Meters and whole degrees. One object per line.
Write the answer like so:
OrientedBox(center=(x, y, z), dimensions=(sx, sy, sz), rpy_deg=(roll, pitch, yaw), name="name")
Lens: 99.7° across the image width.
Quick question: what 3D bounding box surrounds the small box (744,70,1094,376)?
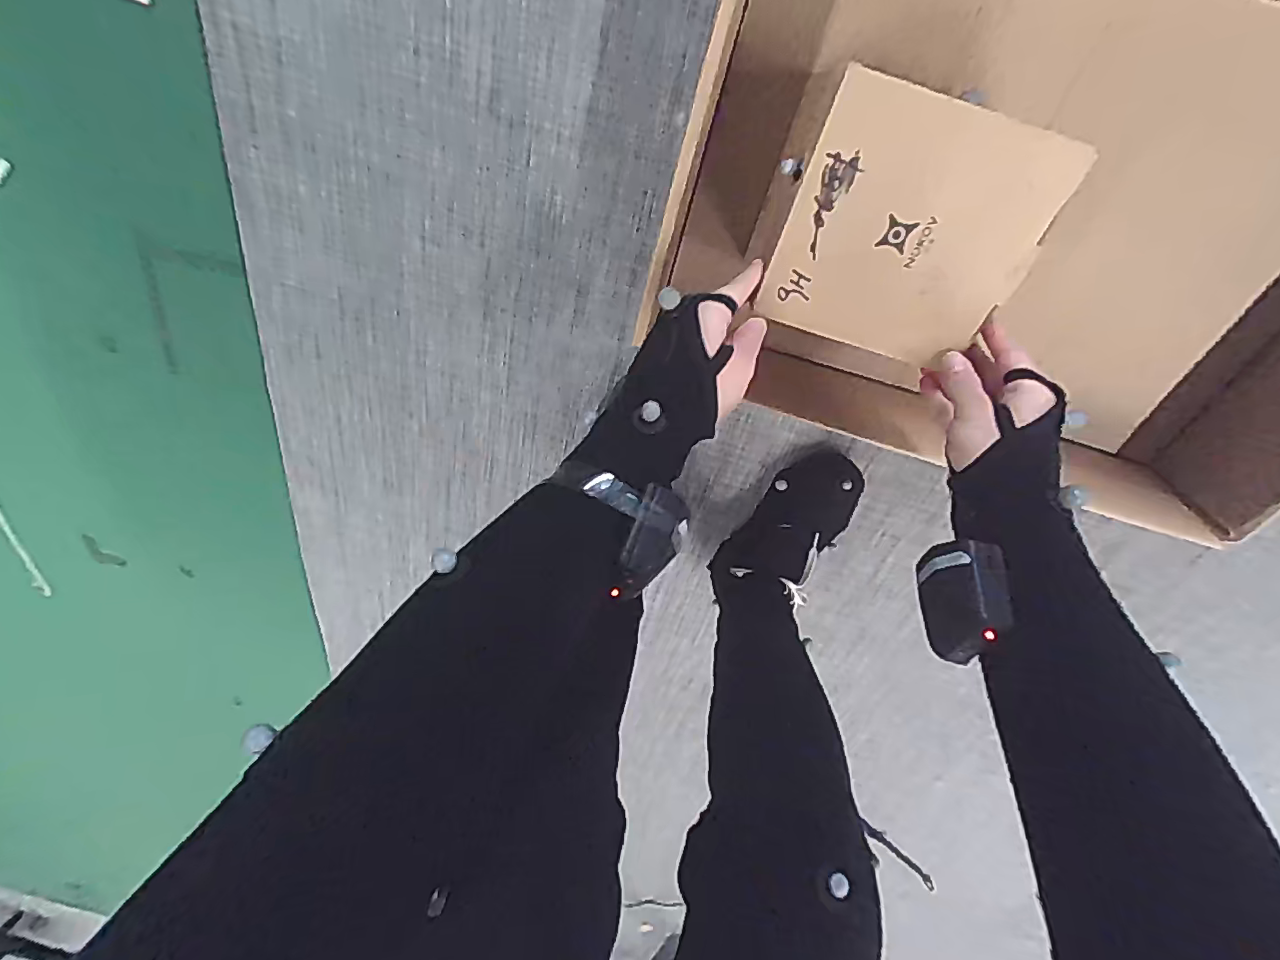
OrientedBox(center=(0.199, -0.214, 0.452), dimensions=(0.179, 0.176, 0.168), rpy_deg=(16, 124, -3), name="small box")
